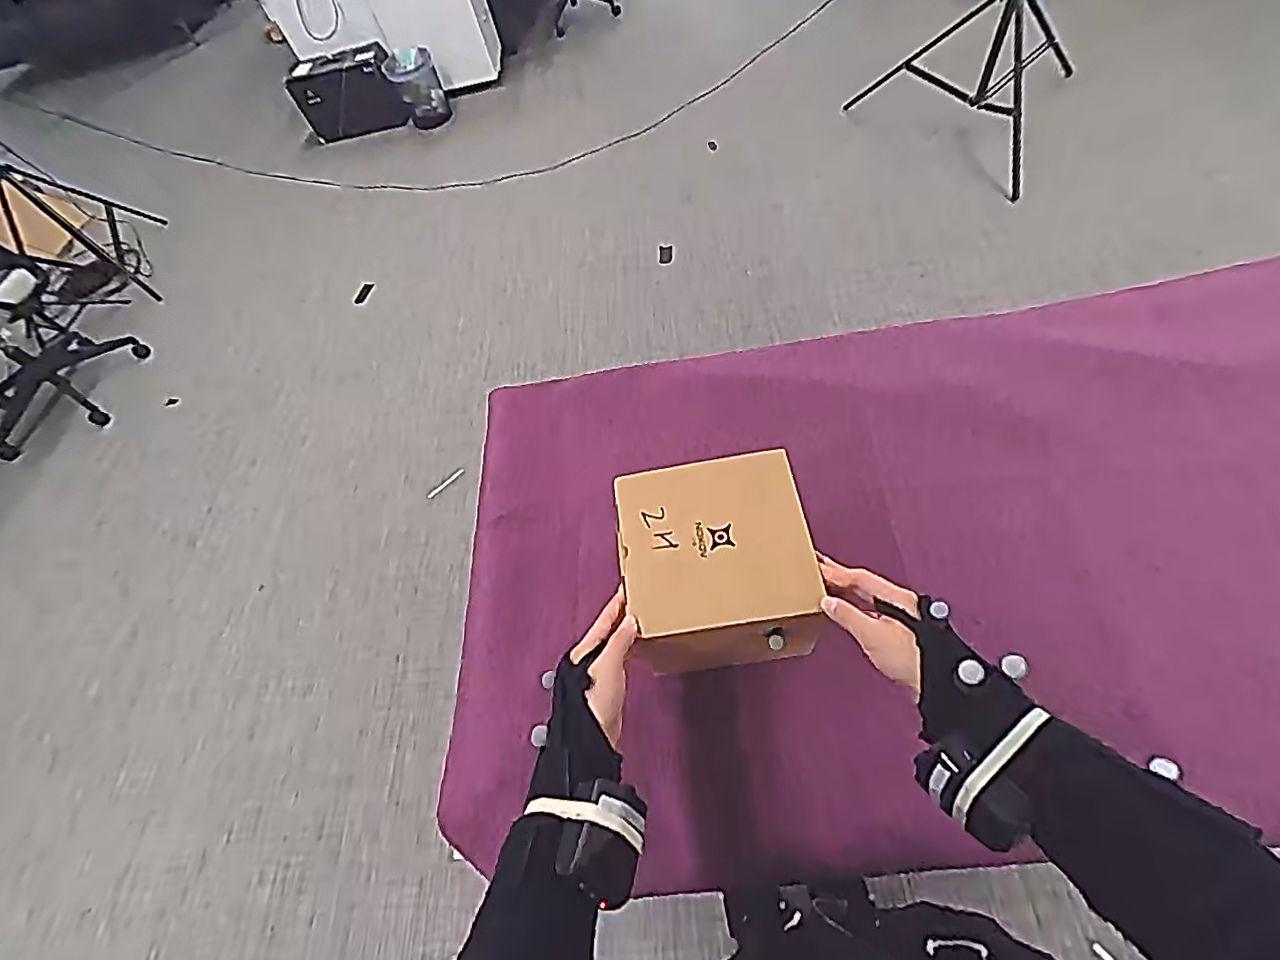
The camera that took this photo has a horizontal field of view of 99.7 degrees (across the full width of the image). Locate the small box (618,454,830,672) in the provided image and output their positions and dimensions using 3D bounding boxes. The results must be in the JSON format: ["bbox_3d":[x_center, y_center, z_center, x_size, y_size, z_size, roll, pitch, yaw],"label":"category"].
[{"bbox_3d":[0.081,0.095,0.570,0.179,0.176,0.168,-10,59,5],"label":"small box"}]
